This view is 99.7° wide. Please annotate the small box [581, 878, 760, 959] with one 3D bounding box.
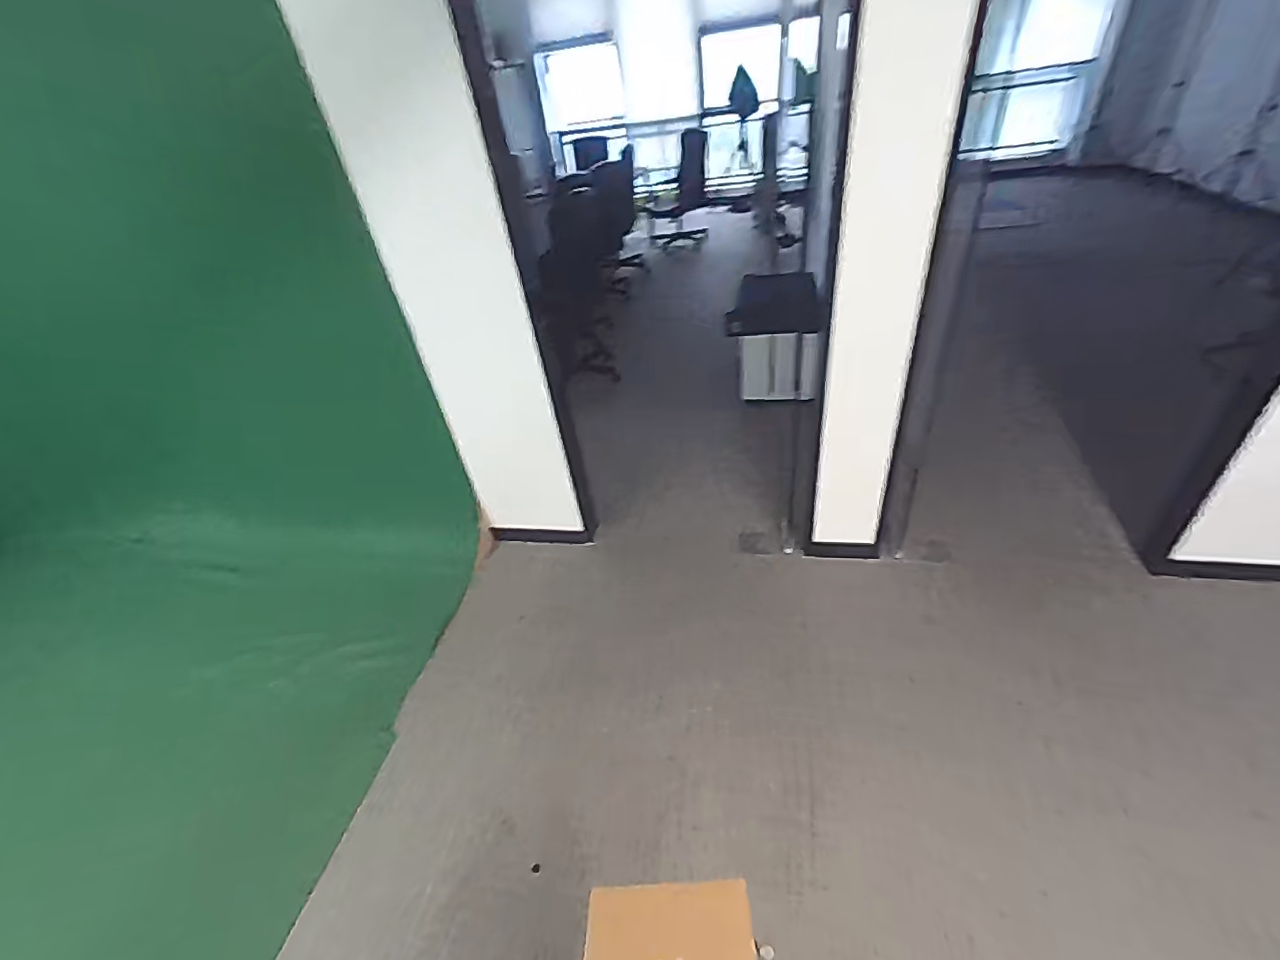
[{"bbox_3d":[0.034,0.529,0.523,0.168,0.176,0.179,-6,28,12],"label":"small box"}]
